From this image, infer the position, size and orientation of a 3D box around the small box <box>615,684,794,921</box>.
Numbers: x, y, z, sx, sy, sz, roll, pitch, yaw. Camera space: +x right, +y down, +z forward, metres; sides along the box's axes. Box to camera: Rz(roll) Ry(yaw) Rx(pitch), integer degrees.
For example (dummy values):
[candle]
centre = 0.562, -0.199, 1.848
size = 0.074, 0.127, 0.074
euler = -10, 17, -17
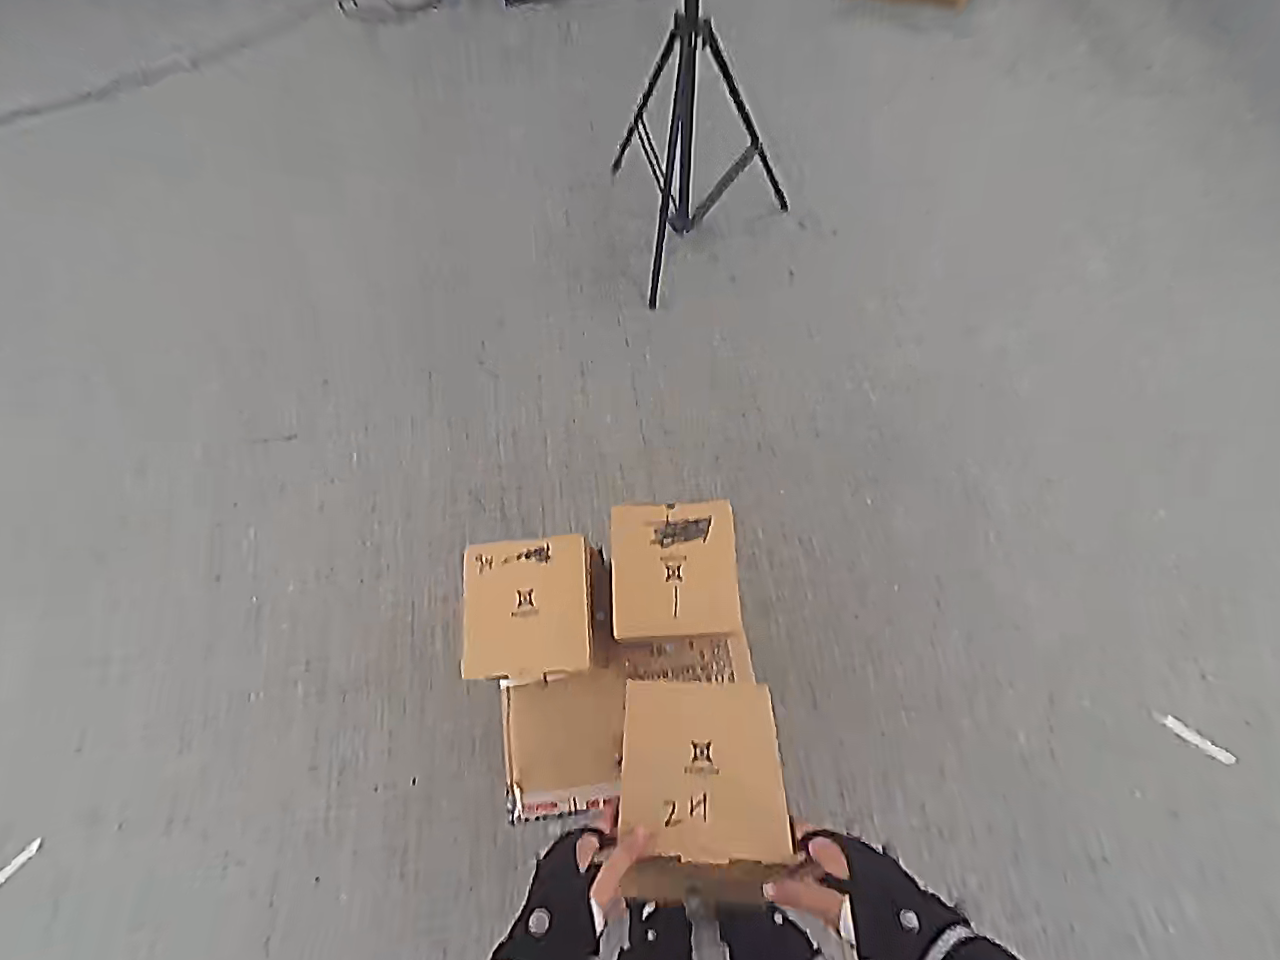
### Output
[small box]
centre = 0.060, 0.353, 0.600
size = 0.168, 0.176, 0.179
euler = 2, 40, 2
